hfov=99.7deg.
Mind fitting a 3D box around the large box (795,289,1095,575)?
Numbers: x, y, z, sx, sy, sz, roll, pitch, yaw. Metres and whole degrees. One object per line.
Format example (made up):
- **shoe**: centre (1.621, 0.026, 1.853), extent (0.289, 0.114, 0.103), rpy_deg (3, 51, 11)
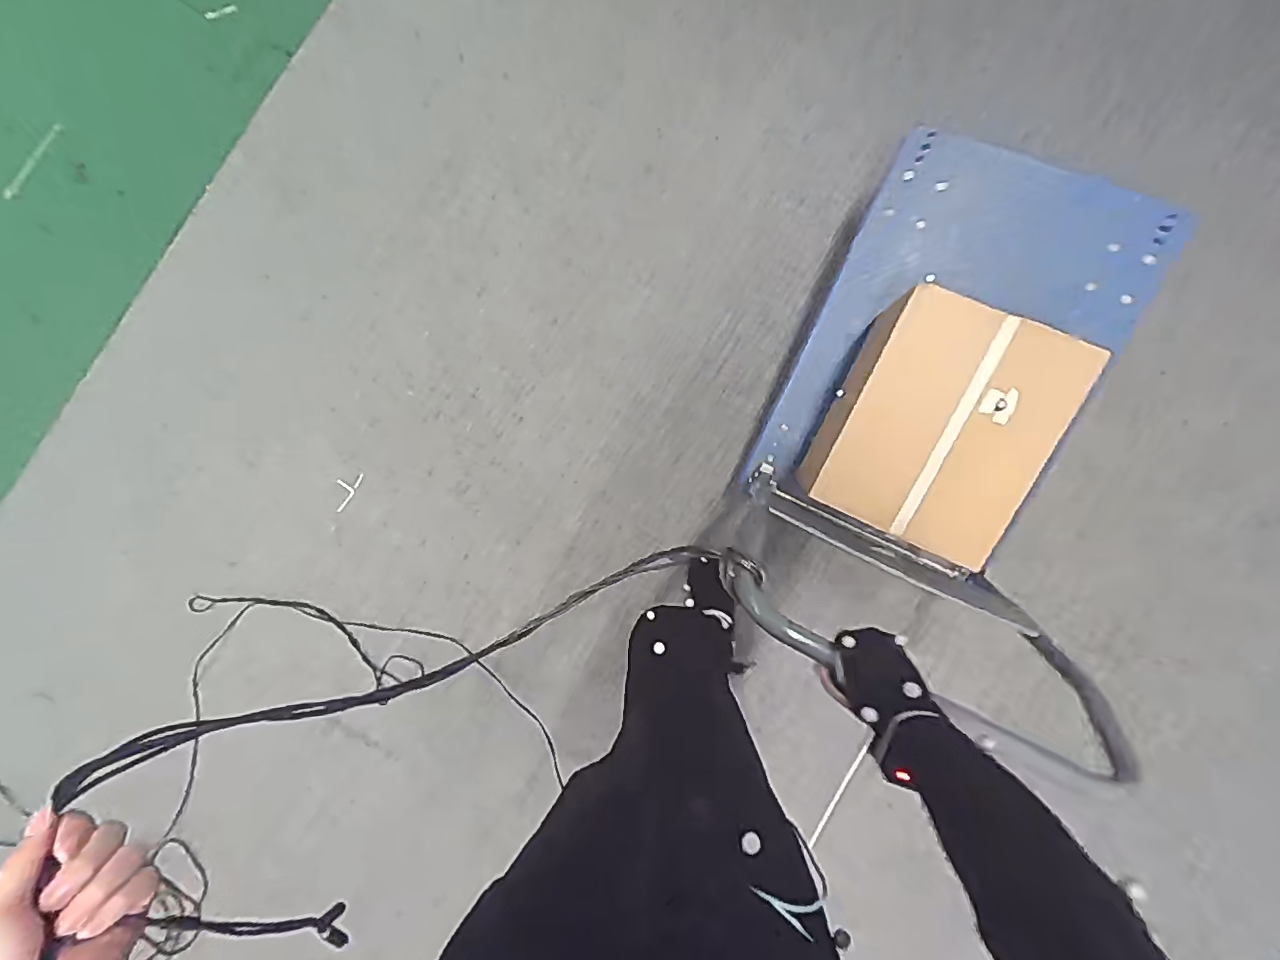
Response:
- **large box**: centre (0.539, -0.092, 1.058), extent (0.320, 0.320, 0.408), rpy_deg (28, 102, 7)
